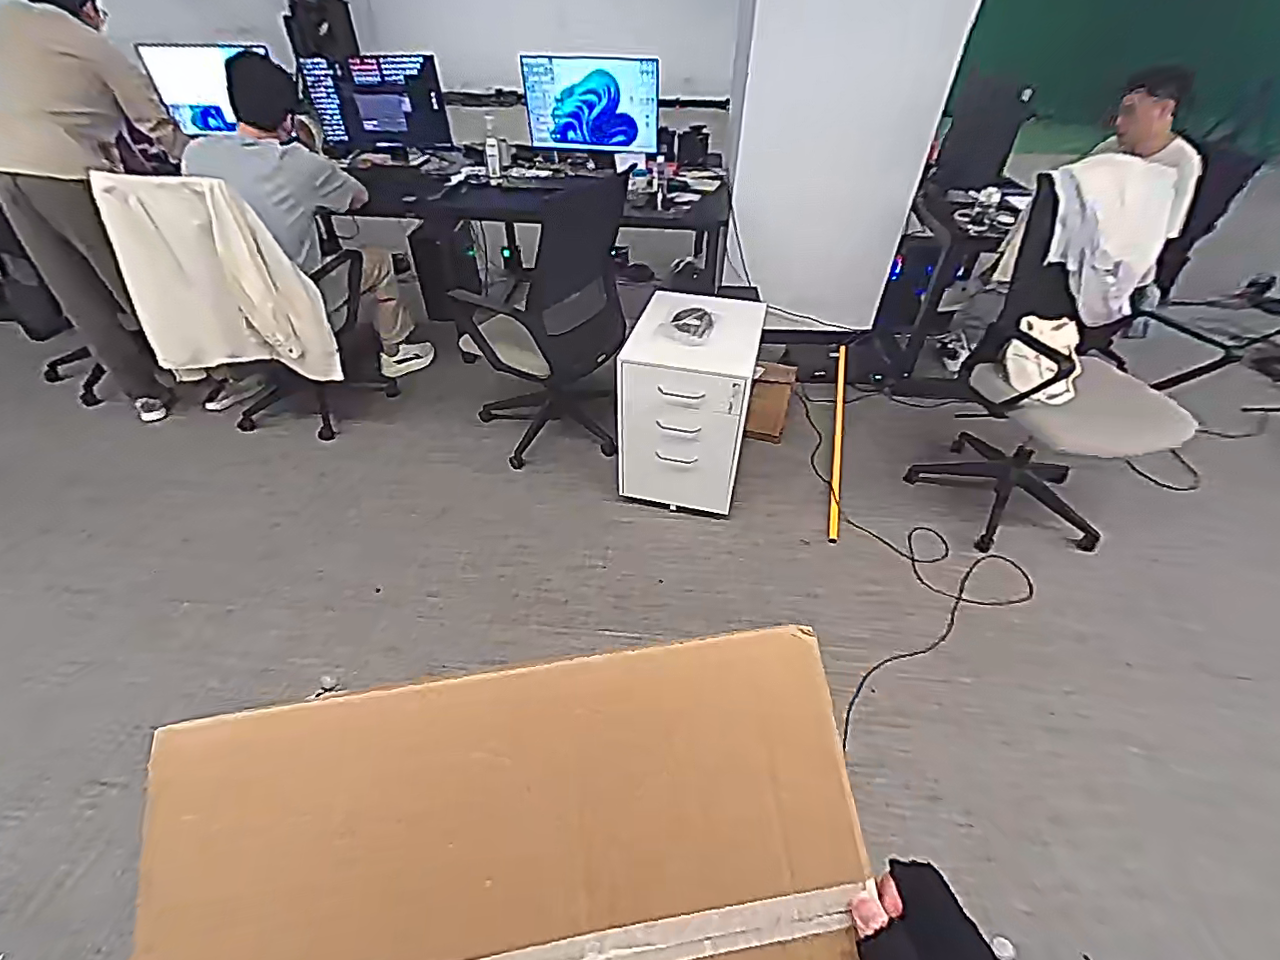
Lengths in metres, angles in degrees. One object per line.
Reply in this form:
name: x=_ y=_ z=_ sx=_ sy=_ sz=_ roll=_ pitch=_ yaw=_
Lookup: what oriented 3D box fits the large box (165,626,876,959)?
large box: x=-0.071 y=0.316 z=0.449 sx=0.408 sy=0.320 sz=0.320 roll=-8 pitch=74 yaw=-5
